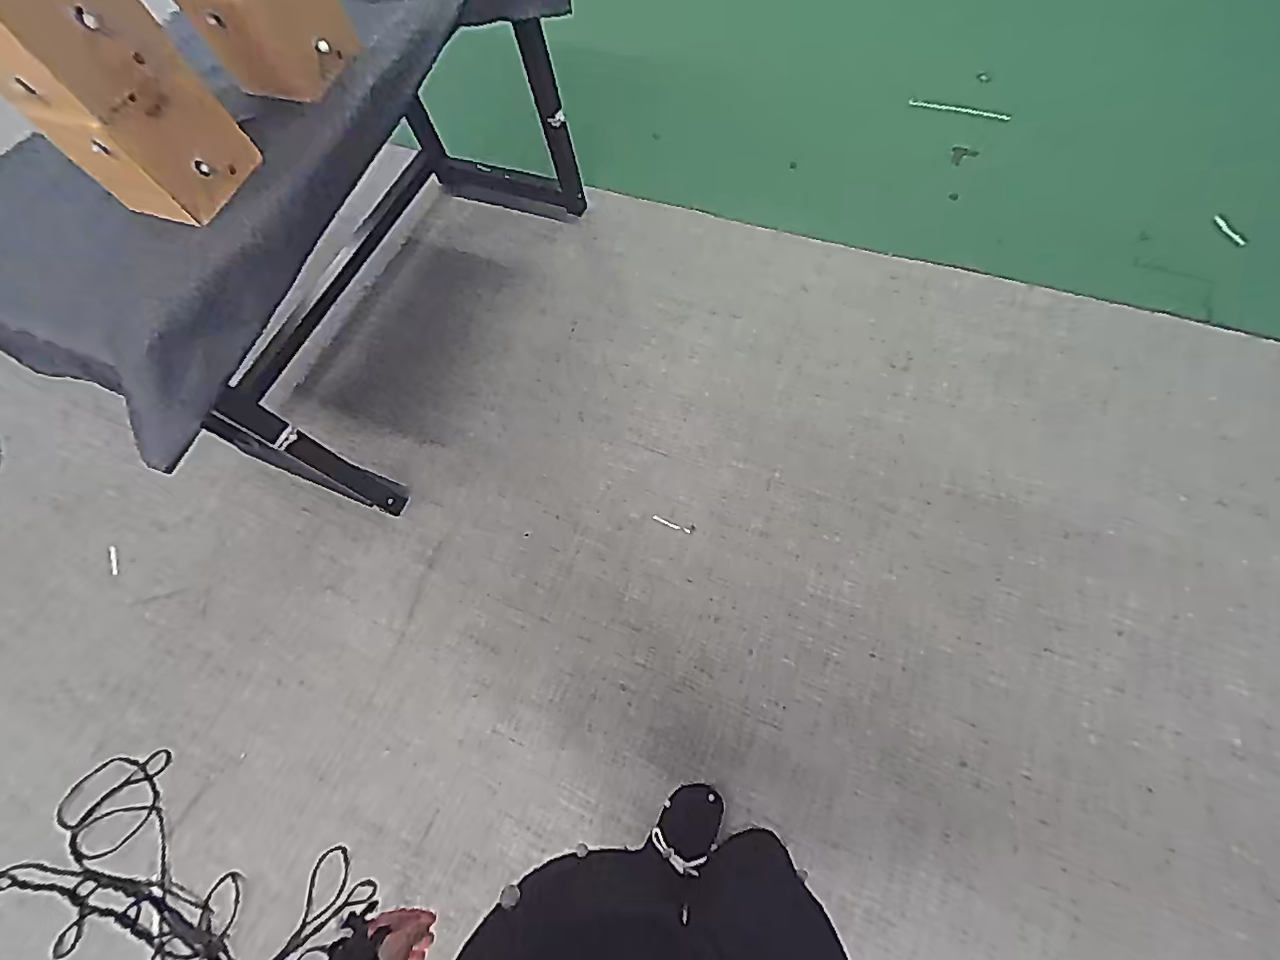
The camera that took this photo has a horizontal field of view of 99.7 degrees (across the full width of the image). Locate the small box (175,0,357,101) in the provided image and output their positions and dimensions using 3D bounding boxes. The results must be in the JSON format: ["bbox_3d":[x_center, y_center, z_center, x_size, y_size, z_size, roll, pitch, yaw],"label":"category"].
[{"bbox_3d":[-0.635,-0.786,0.919,0.179,0.176,0.168,19,72,14],"label":"small box"}]

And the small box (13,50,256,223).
[{"bbox_3d":[-0.758,-0.528,0.831,0.179,0.176,0.168,17,70,13],"label":"small box"}]

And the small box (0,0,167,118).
[{"bbox_3d":[-0.772,-0.594,0.682,0.179,0.176,0.168,16,70,12],"label":"small box"}]
